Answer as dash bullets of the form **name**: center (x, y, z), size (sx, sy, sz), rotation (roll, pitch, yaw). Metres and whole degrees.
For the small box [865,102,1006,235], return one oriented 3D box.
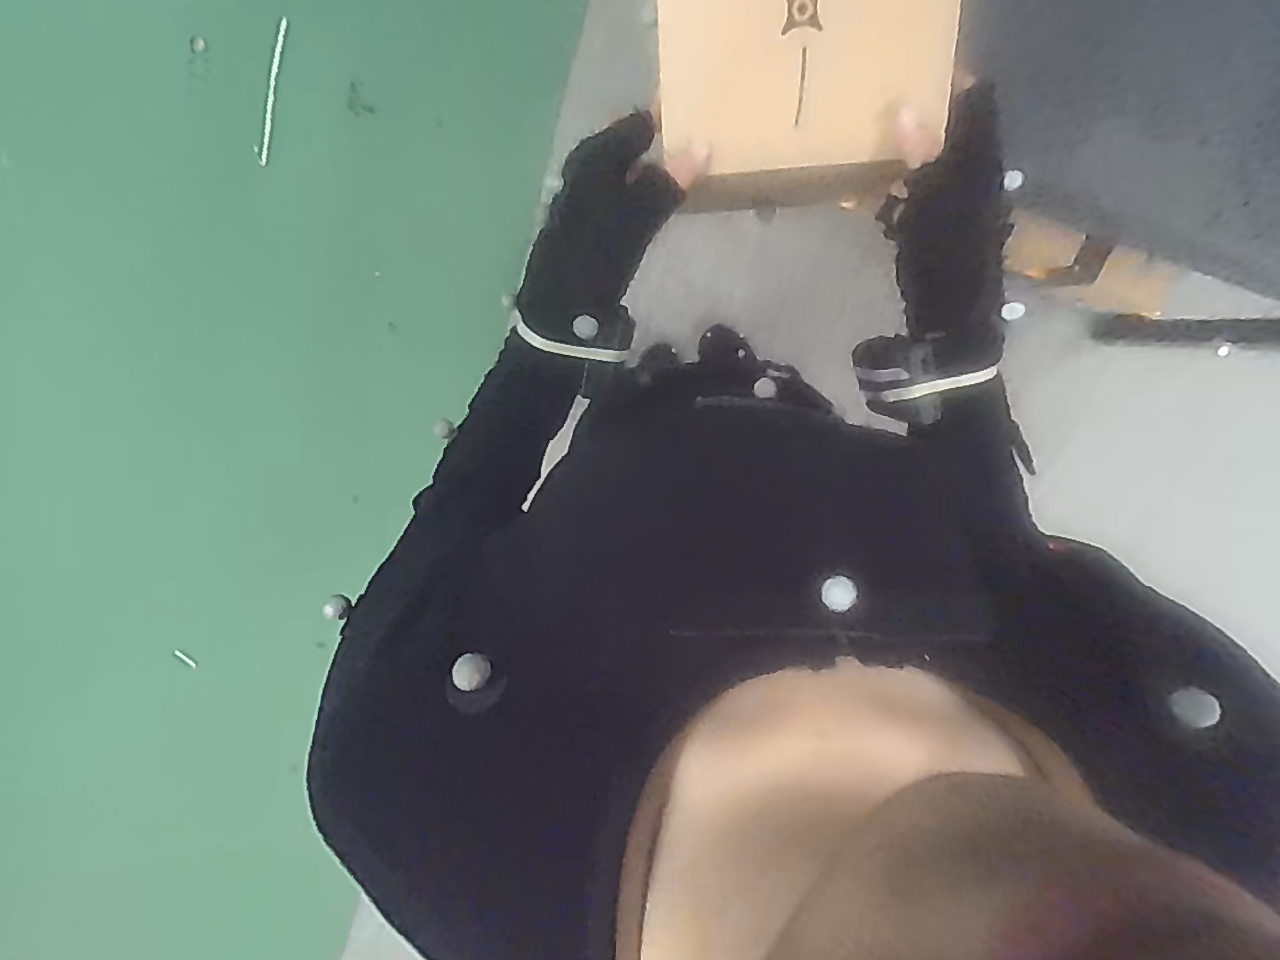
- **small box**: center (0.593, -0.628, 1.118), size (0.168, 0.176, 0.179), rotation (19, 106, -5)
